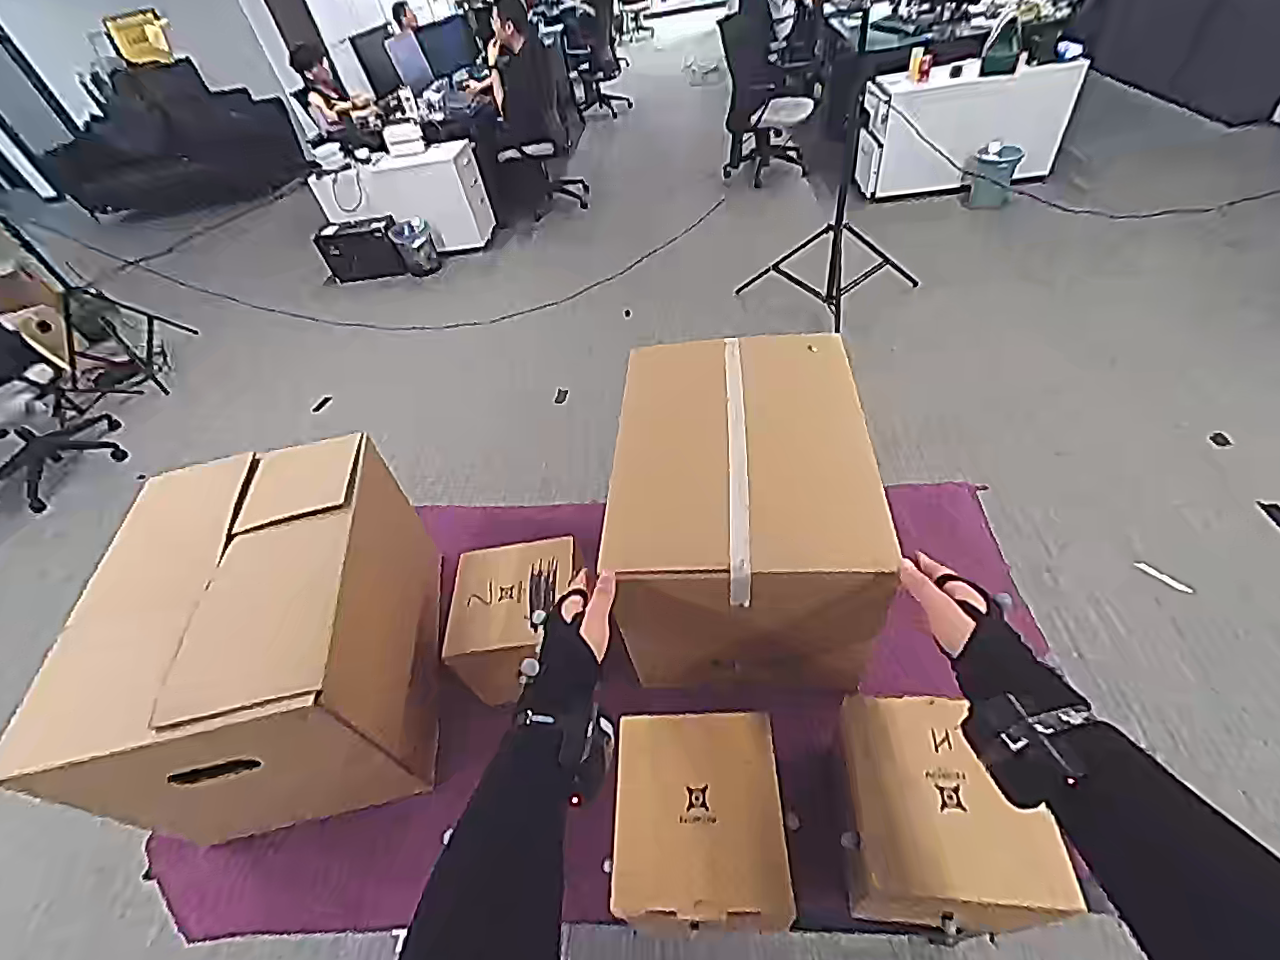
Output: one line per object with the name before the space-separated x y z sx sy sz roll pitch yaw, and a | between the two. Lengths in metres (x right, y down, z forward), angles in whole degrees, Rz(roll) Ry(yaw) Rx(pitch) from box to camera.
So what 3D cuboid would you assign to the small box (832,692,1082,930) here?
small box | 0.302 0.344 0.564 0.168 0.176 0.179 -2 45 10
